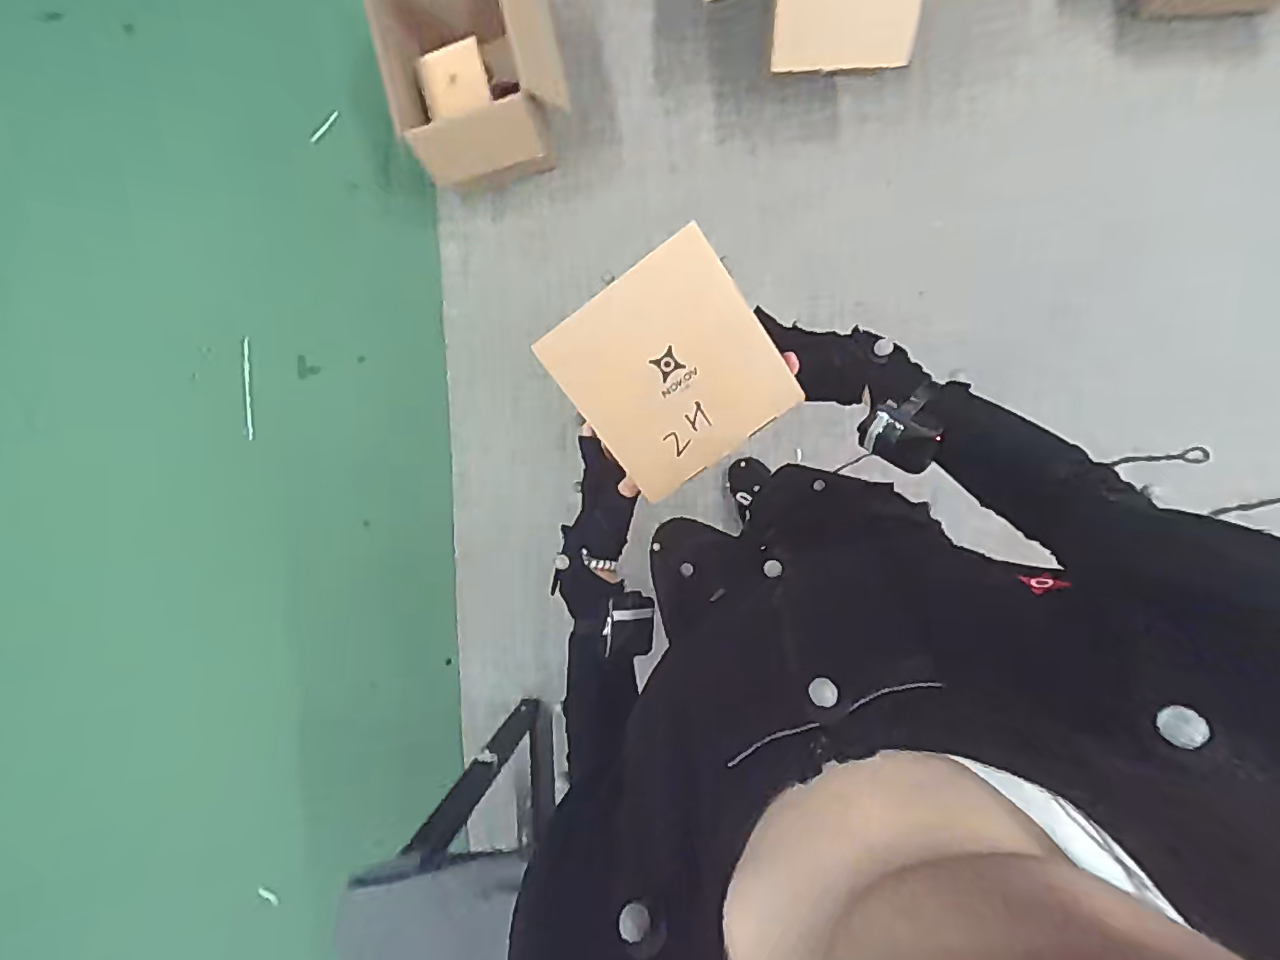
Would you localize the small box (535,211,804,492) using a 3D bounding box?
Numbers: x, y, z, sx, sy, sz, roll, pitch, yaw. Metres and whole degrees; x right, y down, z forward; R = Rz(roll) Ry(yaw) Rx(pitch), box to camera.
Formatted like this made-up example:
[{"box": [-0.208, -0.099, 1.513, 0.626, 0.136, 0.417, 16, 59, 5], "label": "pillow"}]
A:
[{"box": [0.023, -0.120, 0.525, 0.168, 0.176, 0.179, -34, 105, 7], "label": "small box"}]
